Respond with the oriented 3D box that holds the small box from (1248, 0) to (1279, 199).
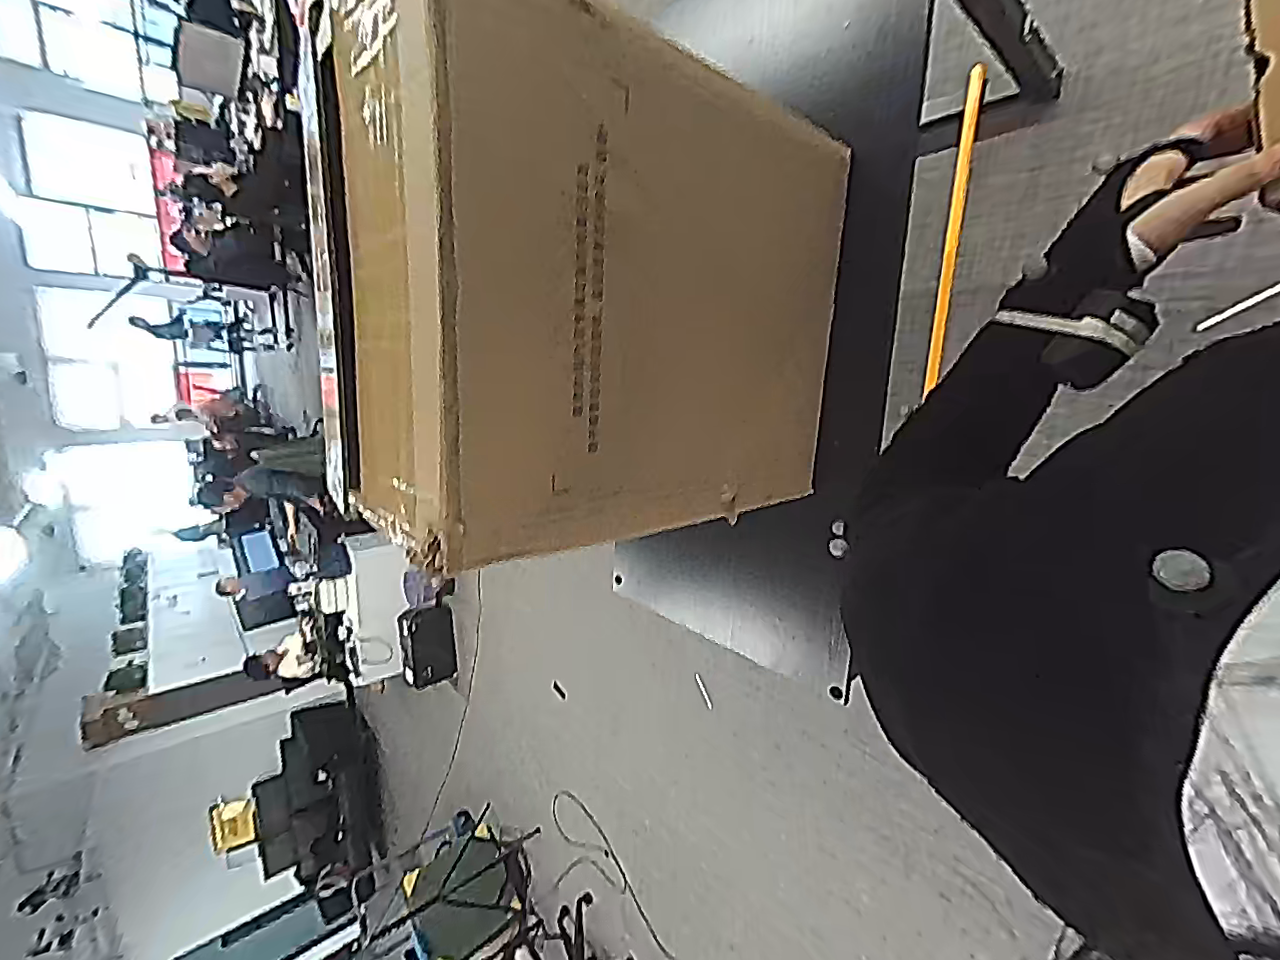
[{"bbox_3d":[0.486,-0.268,0.300,0.179,0.176,0.168,-4,100,55],"label":"small box"}]
